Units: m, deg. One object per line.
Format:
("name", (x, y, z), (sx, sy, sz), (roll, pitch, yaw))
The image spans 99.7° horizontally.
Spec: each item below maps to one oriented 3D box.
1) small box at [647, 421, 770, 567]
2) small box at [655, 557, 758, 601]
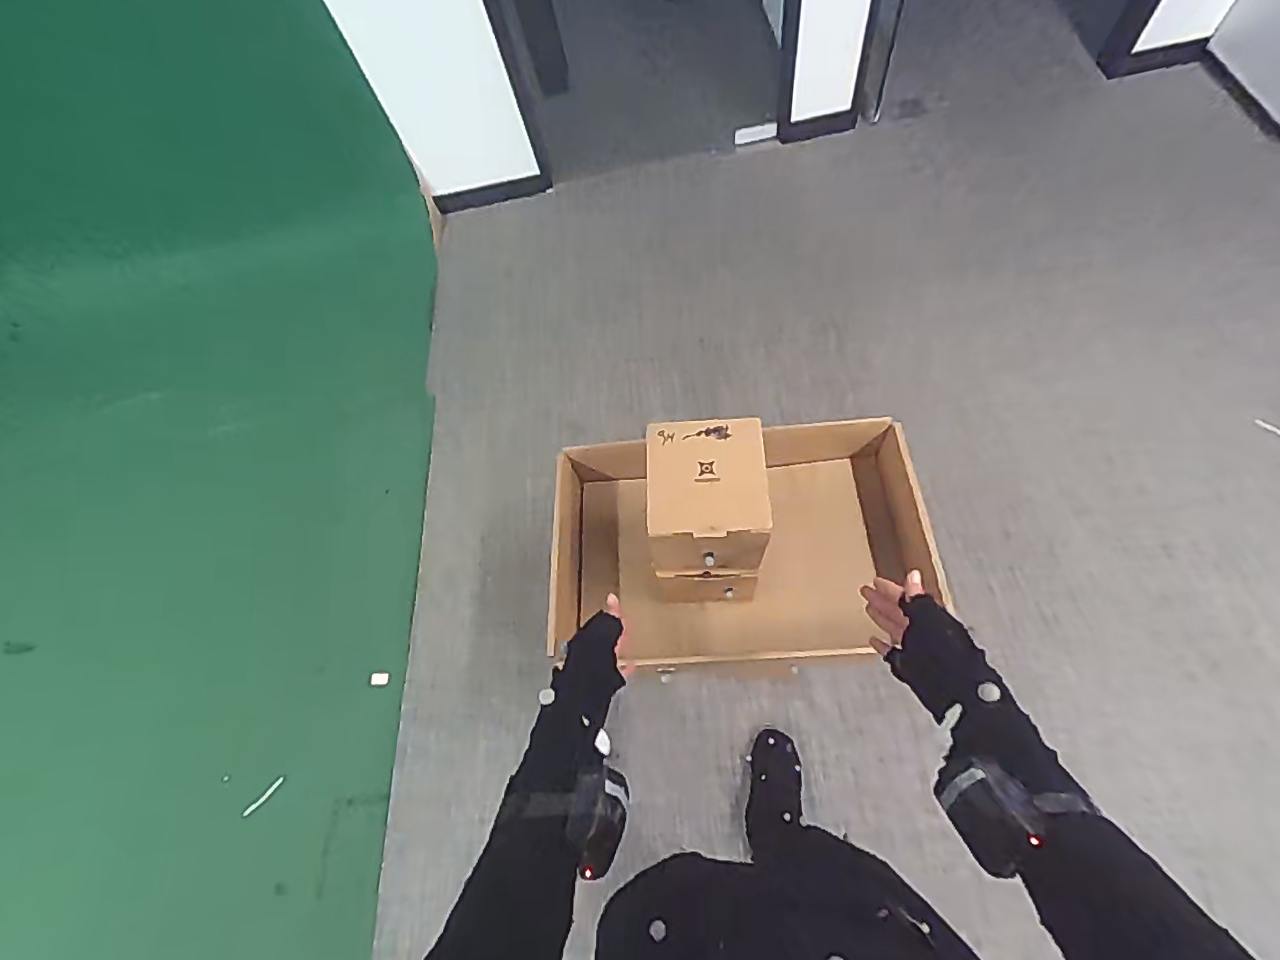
("small box", (0.100, 0.030, 0.817), (0.168, 0.176, 0.179), (-2, 65, 5))
("small box", (0.116, 0.112, 0.959), (0.168, 0.176, 0.179), (-2, 62, 5))
